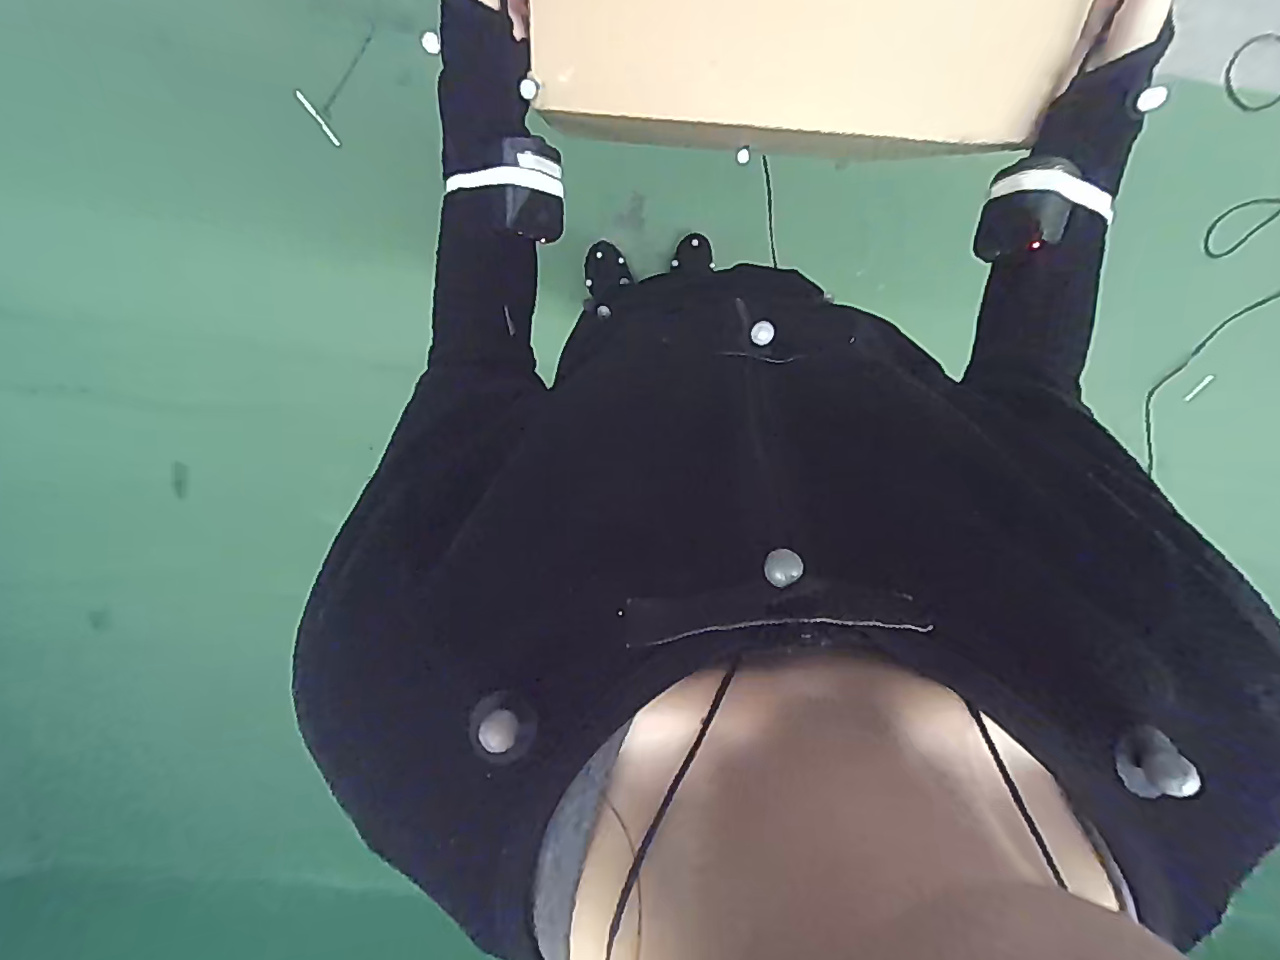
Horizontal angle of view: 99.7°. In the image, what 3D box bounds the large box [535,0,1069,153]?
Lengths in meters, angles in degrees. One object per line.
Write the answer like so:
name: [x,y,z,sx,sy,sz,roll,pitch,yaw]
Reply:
large box: [0.121,-0.486,0.490,0.408,0.320,0.320,2,118,-4]
